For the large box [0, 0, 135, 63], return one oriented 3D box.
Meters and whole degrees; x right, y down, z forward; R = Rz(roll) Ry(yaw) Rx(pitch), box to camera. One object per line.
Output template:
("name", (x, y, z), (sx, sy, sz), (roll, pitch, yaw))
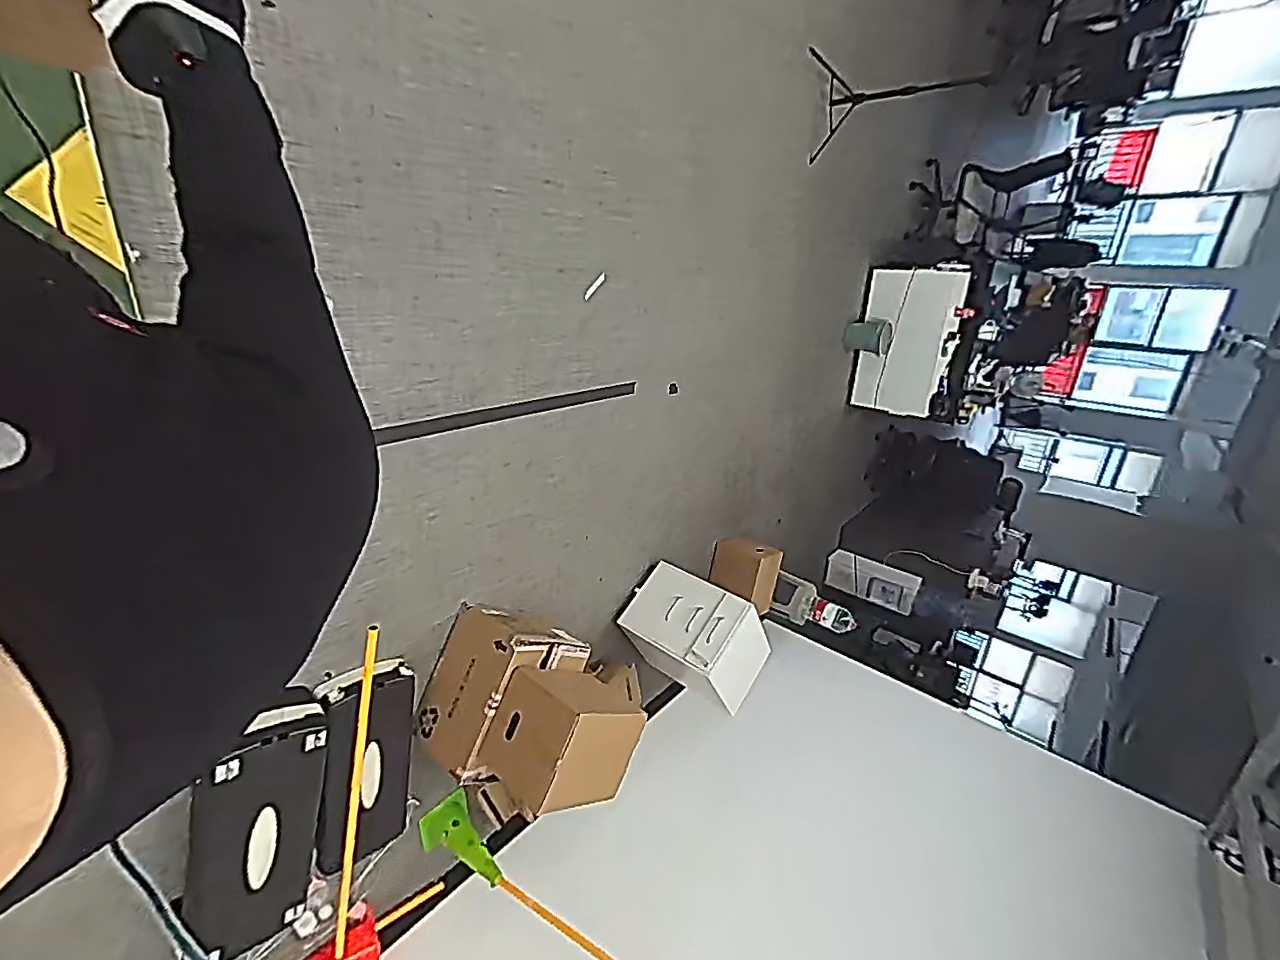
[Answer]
("large box", (-0.598, -0.497, 0.292), (0.408, 0.320, 0.320), (-17, 121, -47))
